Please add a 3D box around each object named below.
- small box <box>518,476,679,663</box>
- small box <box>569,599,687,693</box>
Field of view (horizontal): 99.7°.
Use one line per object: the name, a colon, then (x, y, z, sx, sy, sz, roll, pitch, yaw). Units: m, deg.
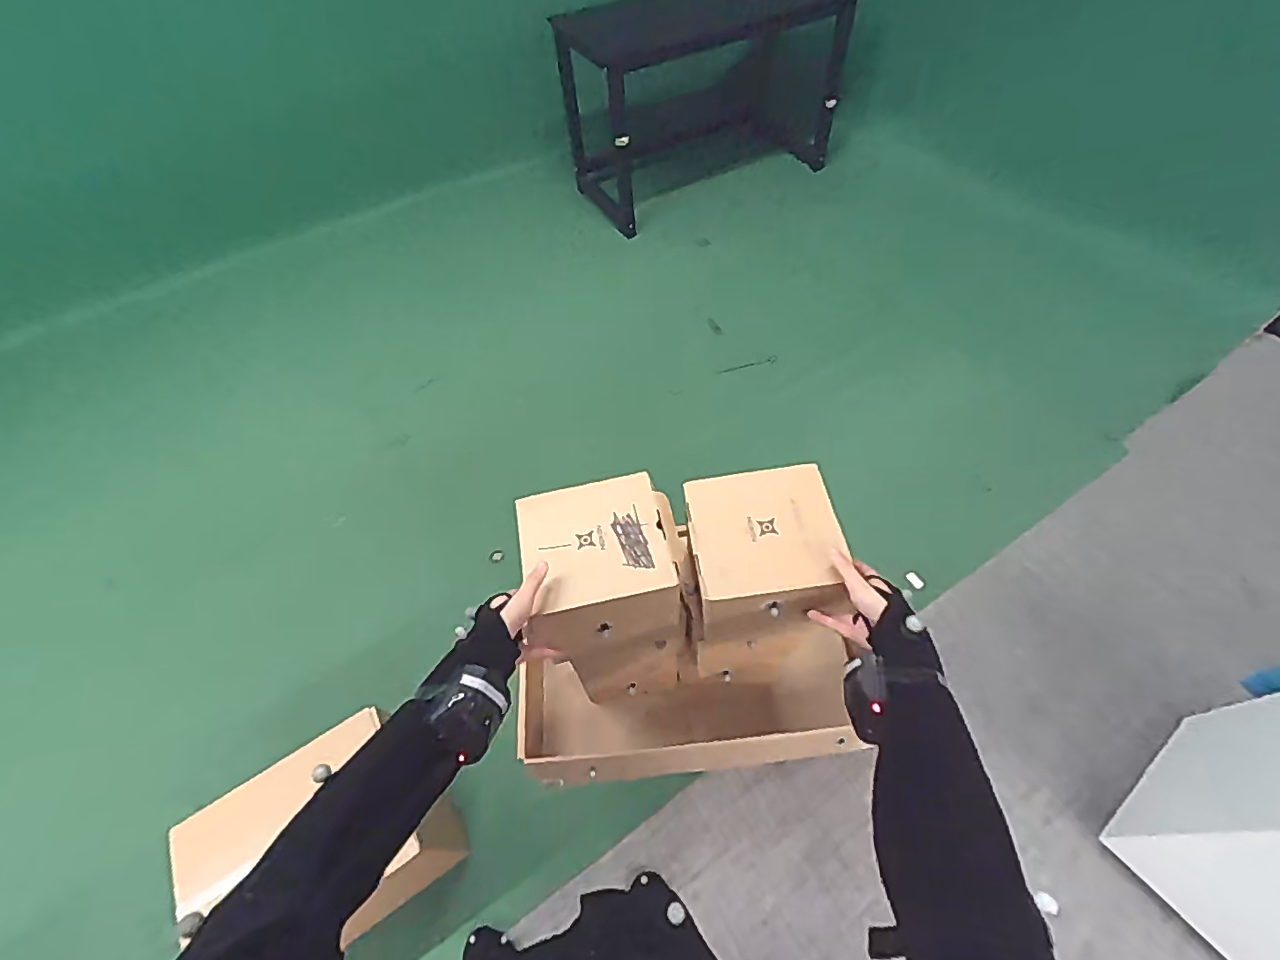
small box: (-0.052, 0.121, 0.712, 0.179, 0.176, 0.168, -11, 53, -4)
small box: (-0.039, 0.208, 0.851, 0.179, 0.176, 0.168, -19, 55, -11)
